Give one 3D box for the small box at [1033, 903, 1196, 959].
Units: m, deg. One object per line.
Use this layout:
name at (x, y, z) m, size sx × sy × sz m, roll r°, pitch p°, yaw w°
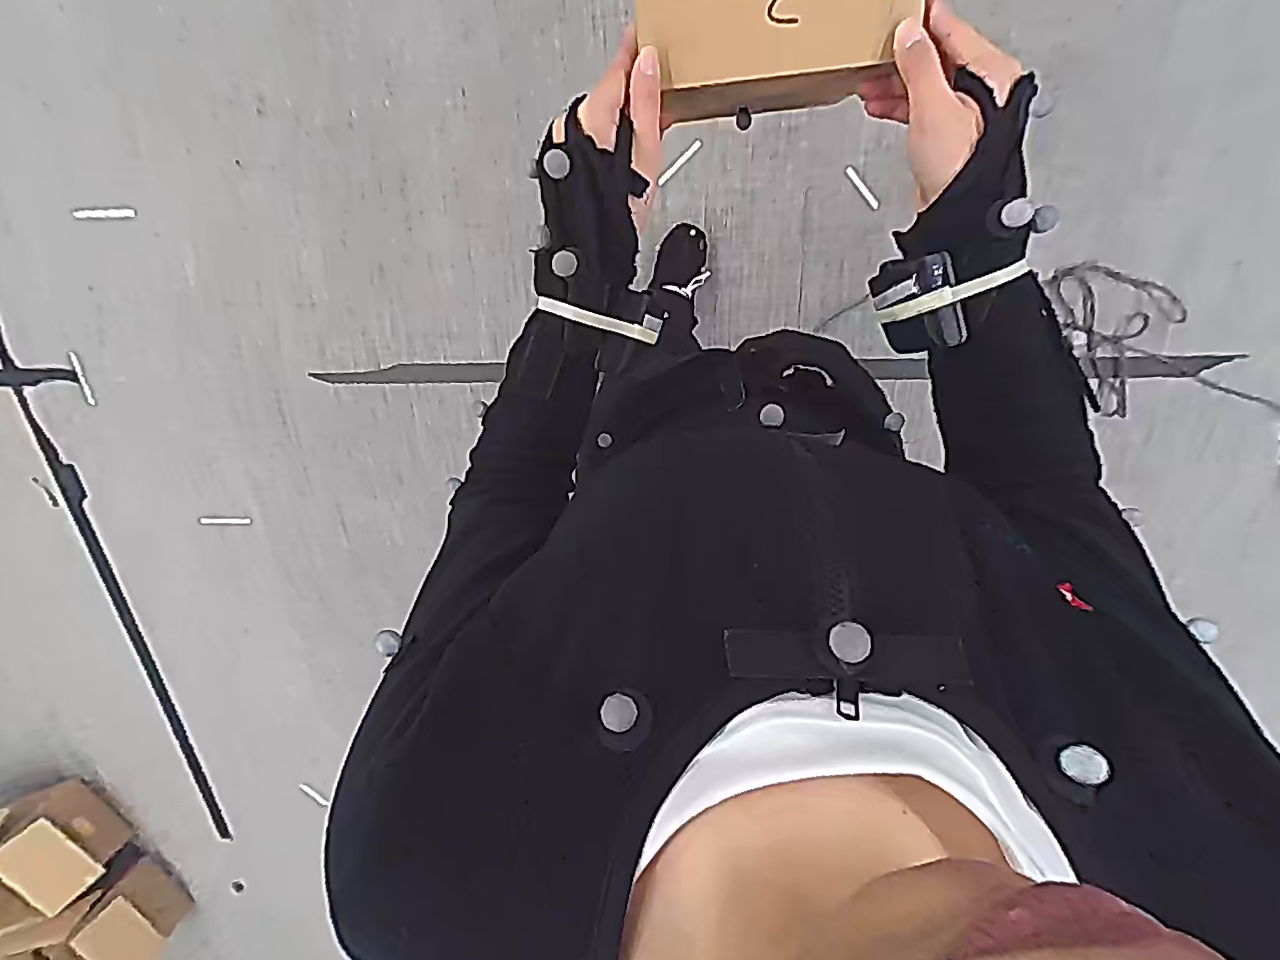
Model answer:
small box at (0.718, 0.762, 0.796) m, size 0.168 × 0.176 × 0.179 m, roll -7°, pitch 110°, yaw 7°
